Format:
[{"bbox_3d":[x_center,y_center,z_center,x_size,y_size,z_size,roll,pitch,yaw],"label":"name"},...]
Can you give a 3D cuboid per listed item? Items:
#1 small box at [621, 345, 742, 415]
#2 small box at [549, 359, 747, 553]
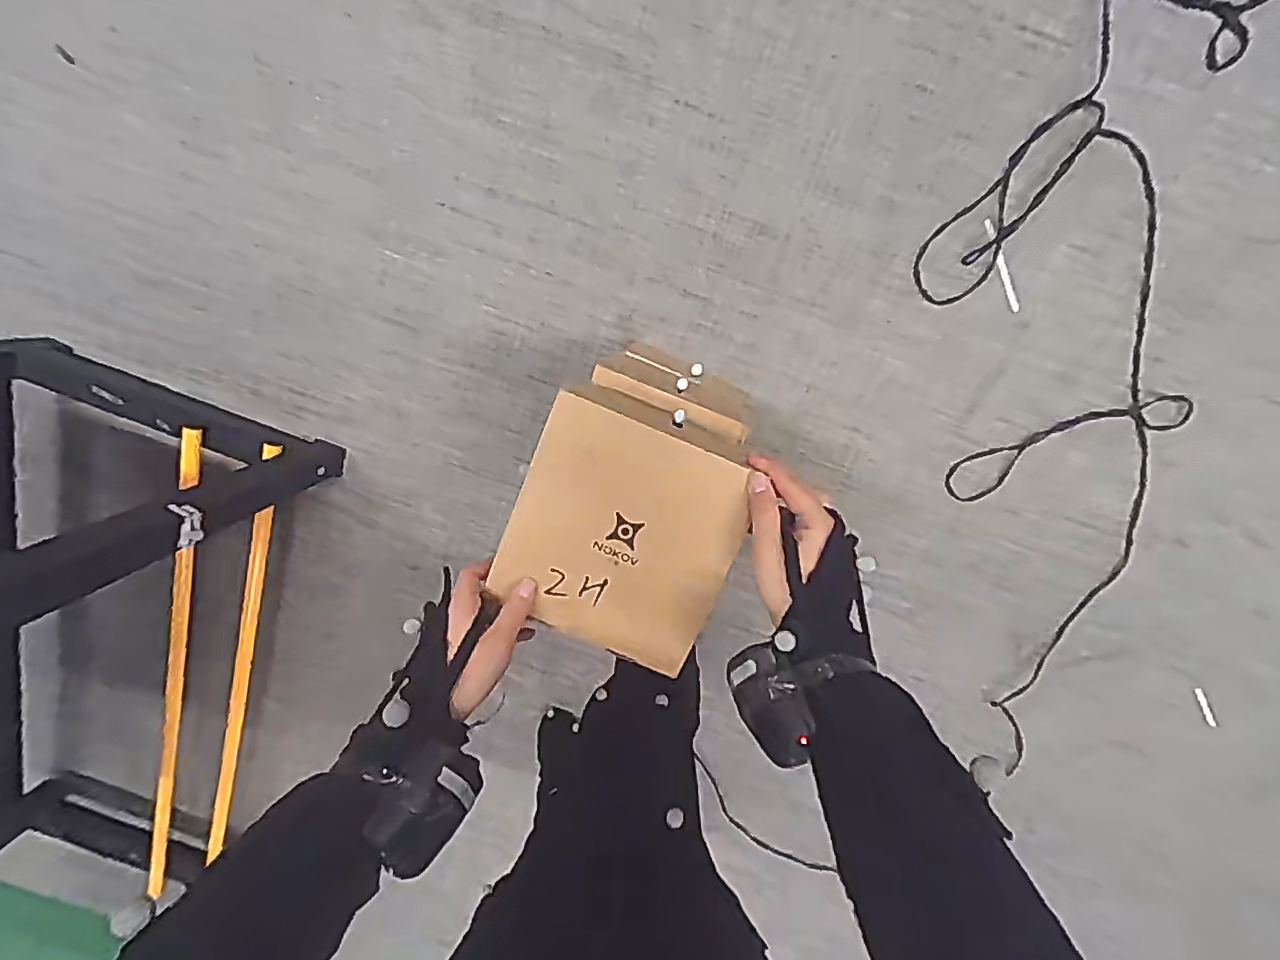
[{"bbox_3d":[0.033,-0.095,0.816,0.179,0.176,0.168,23,108,-3],"label":"small box"},{"bbox_3d":[0.013,-0.041,0.664,0.179,0.176,0.168,21,108,0],"label":"small box"}]
